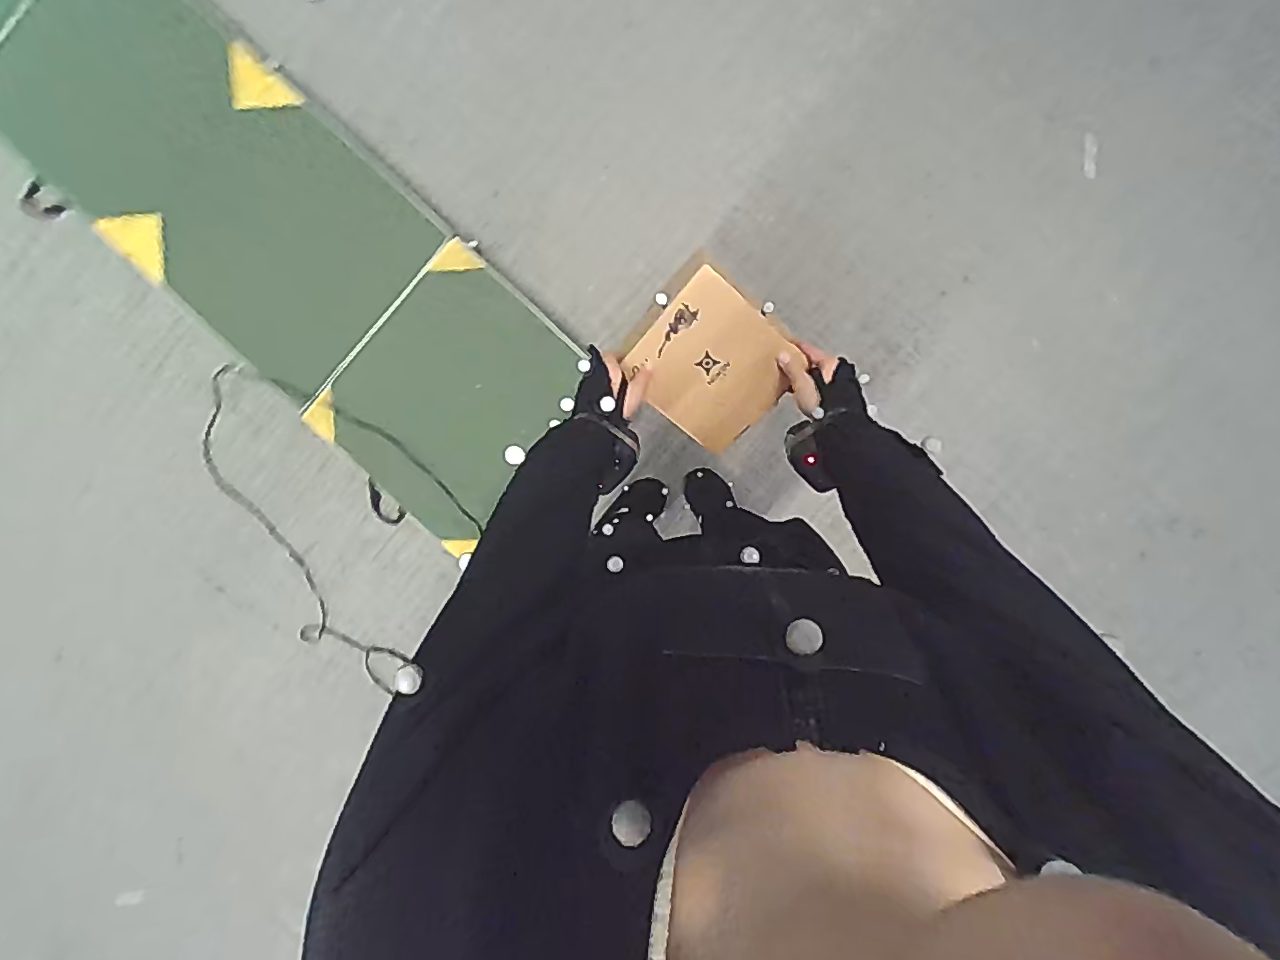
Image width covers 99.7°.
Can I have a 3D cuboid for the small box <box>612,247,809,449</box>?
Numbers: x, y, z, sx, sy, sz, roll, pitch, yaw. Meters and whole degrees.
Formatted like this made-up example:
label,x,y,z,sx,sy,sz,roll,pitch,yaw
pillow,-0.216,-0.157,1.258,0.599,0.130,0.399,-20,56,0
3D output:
label,x,y,z,sx,sy,sz,roll,pitch,yaw
small box,0.087,-0.179,0.706,0.179,0.176,0.168,36,115,-16
